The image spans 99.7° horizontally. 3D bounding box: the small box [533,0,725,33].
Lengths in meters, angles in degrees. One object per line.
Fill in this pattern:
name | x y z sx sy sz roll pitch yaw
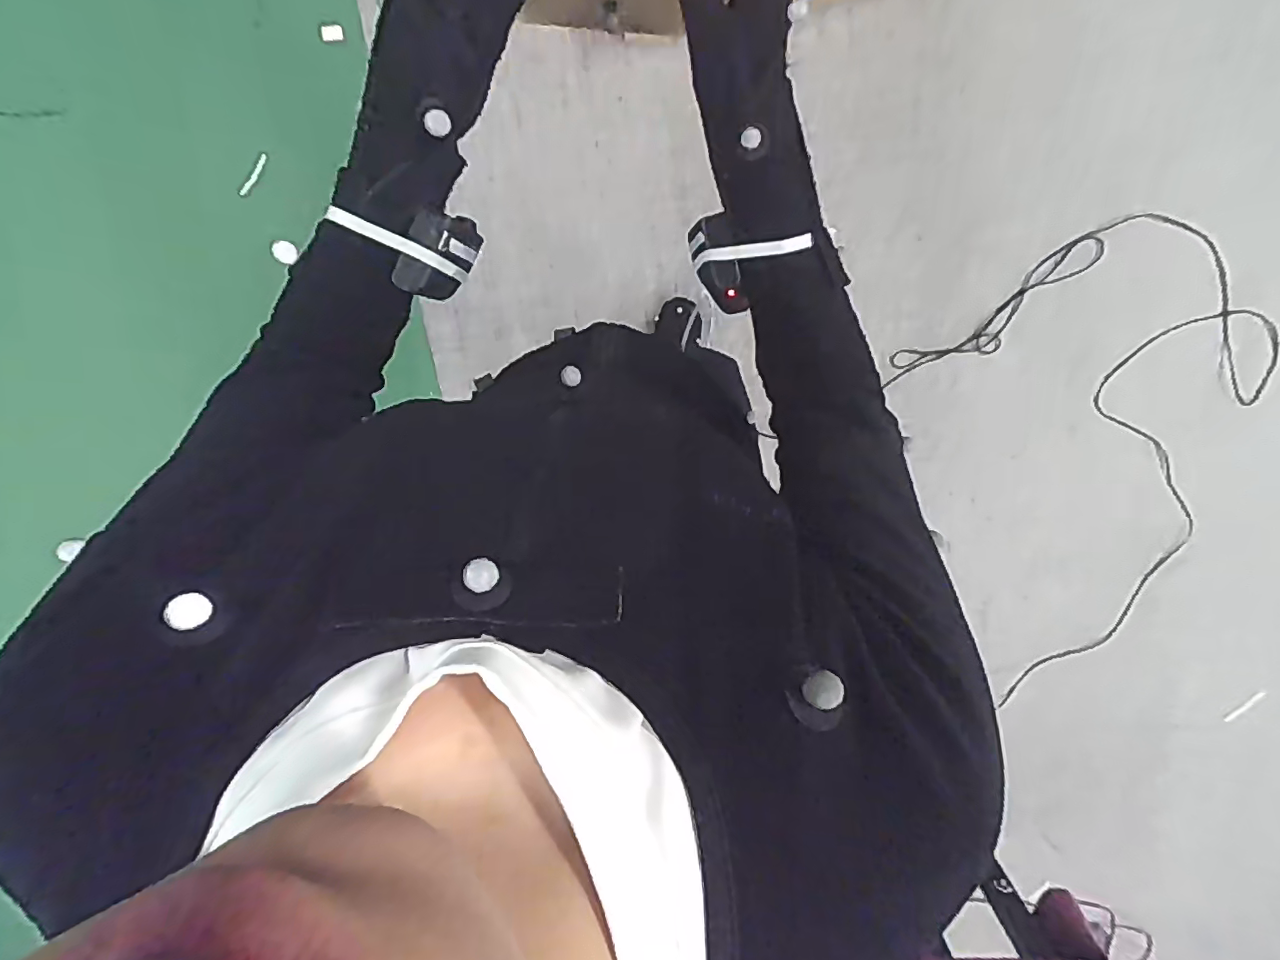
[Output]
small box | -0.007 -0.442 0.360 0.168 0.176 0.179 2 114 -4
